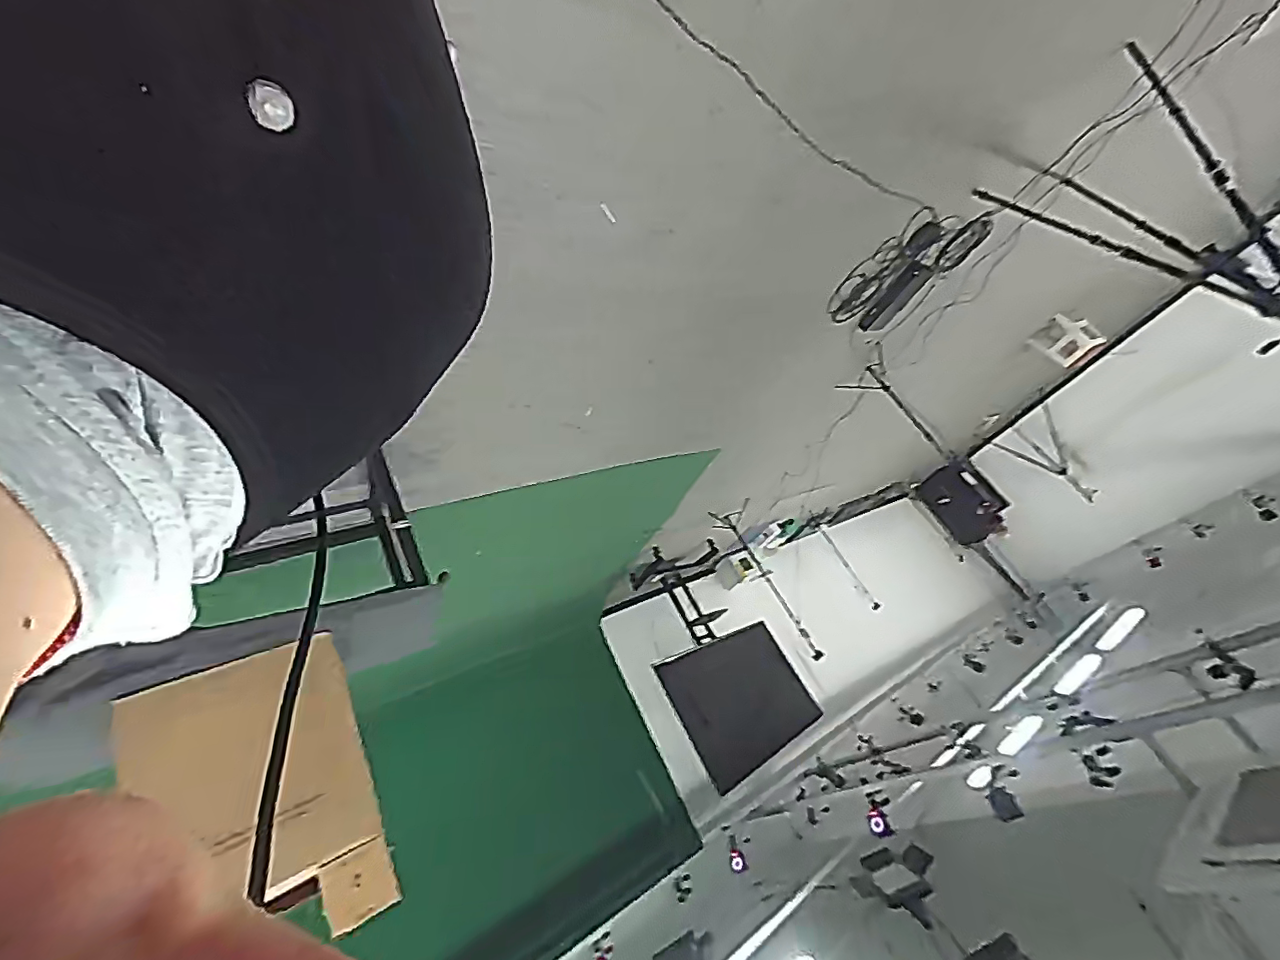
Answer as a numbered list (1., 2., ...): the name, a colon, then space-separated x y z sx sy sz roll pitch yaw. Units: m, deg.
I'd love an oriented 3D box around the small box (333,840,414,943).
1. small box: -0.739 1.138 1.503 0.168 0.176 0.179 -16 152 -33
